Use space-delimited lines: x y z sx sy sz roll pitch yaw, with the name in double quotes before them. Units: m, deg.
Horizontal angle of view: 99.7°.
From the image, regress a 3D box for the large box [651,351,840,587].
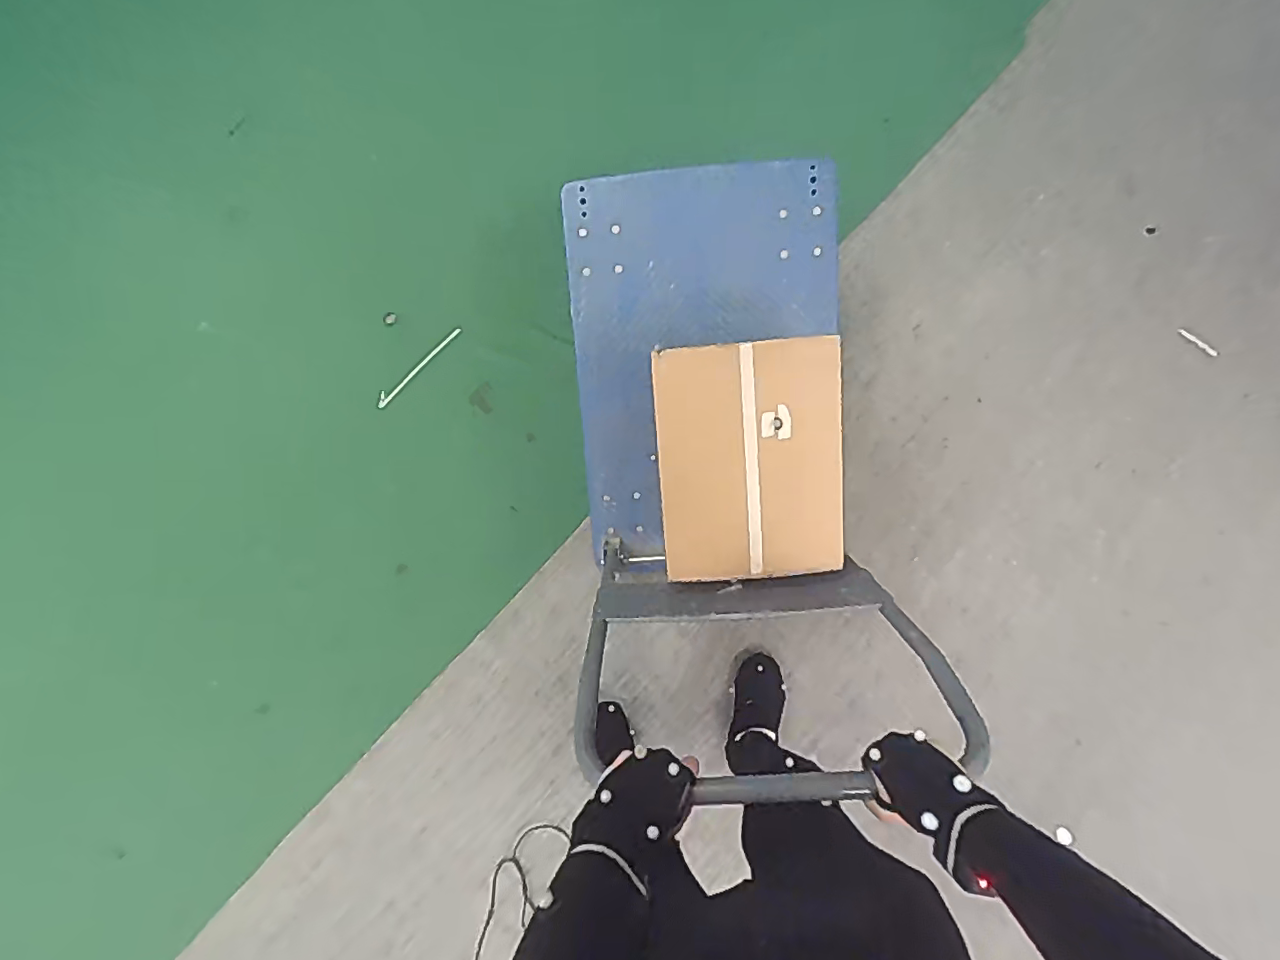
"large box" 0.196 -0.034 1.092 0.320 0.320 0.408 -4 99 2
